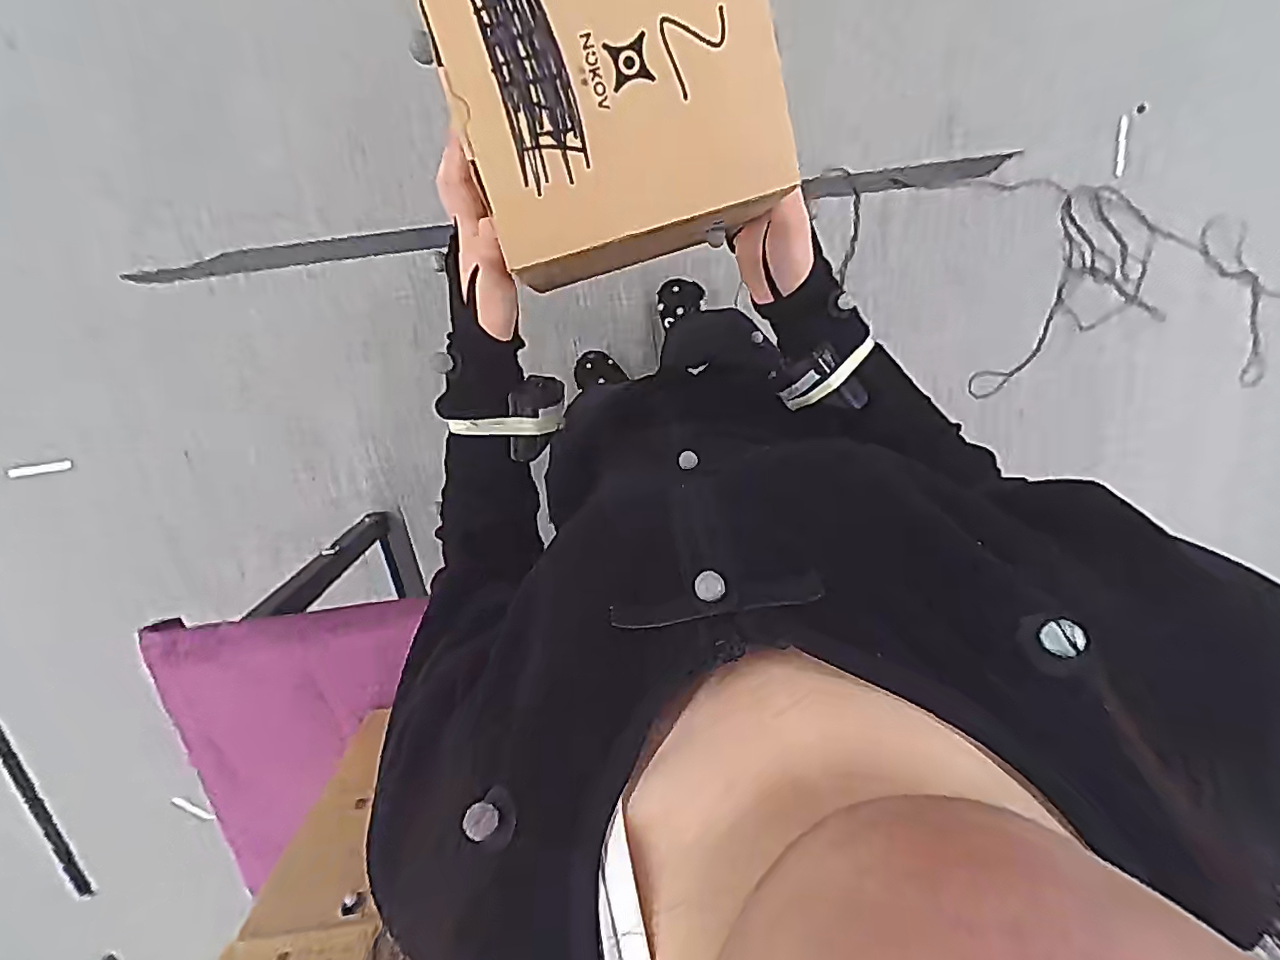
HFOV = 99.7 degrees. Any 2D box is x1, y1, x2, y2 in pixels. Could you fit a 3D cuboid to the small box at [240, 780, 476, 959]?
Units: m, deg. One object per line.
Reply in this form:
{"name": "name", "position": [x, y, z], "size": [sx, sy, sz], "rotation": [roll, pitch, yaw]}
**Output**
{"name": "small box", "position": [-0.289, 0.474, 0.601], "size": [0.168, 0.176, 0.179], "rotation": [-5, 106, -4]}

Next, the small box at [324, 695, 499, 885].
{"name": "small box", "position": [-0.303, 0.436, 0.760], "size": [0.168, 0.176, 0.179], "rotation": [-7, 105, -4]}
